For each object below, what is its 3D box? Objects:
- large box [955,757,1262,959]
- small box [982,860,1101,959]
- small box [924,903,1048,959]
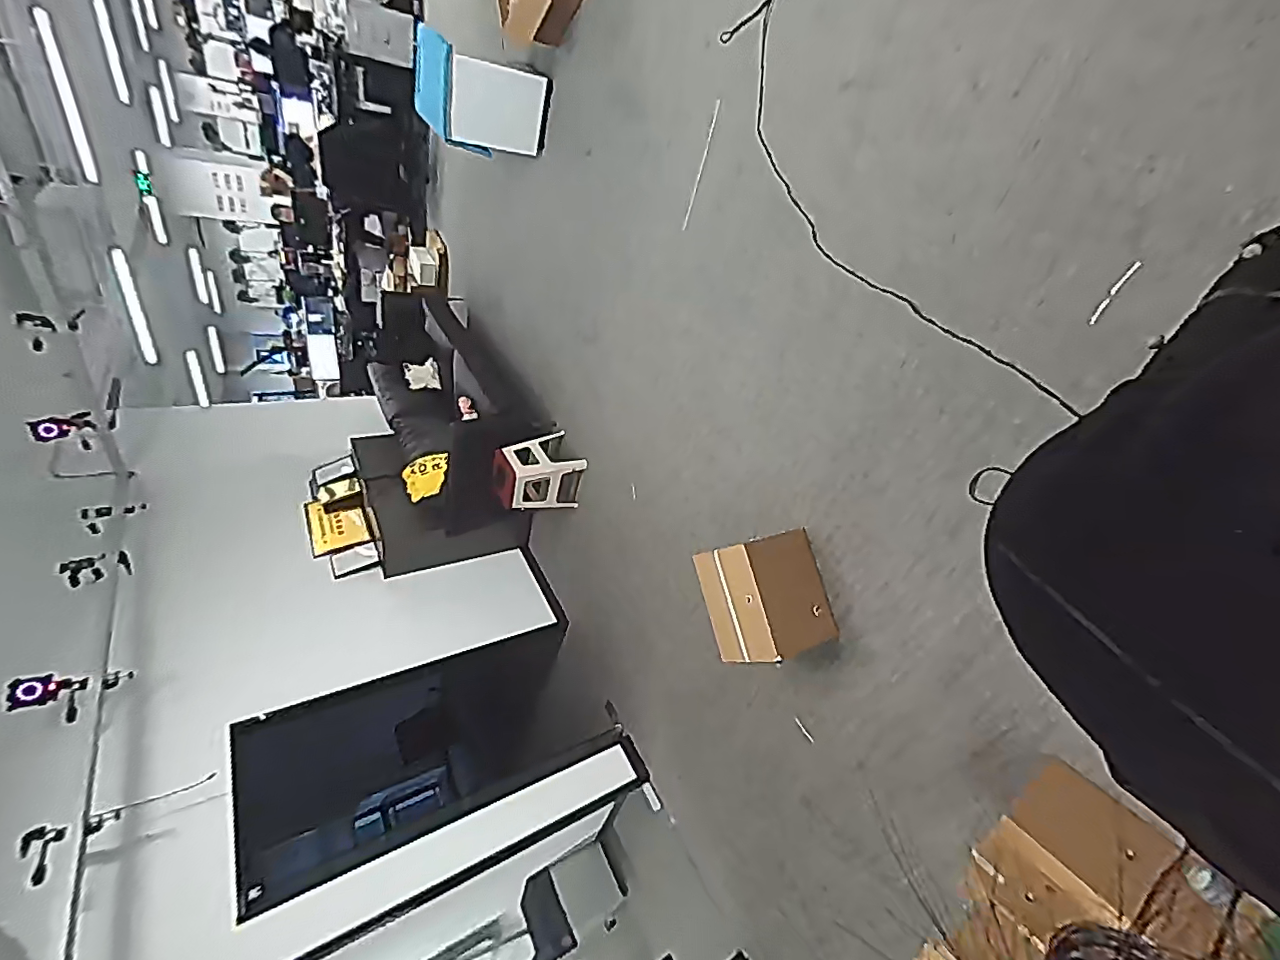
[{"bbox_3d":[1.040,0.948,1.240,0.408,0.320,0.320,37,129,46],"label":"large box"},{"bbox_3d":[0.816,0.952,1.133,0.168,0.176,0.179,40,129,46],"label":"small box"},{"bbox_3d":[0.677,0.975,1.048,0.179,0.176,0.168,38,128,47],"label":"small box"}]
